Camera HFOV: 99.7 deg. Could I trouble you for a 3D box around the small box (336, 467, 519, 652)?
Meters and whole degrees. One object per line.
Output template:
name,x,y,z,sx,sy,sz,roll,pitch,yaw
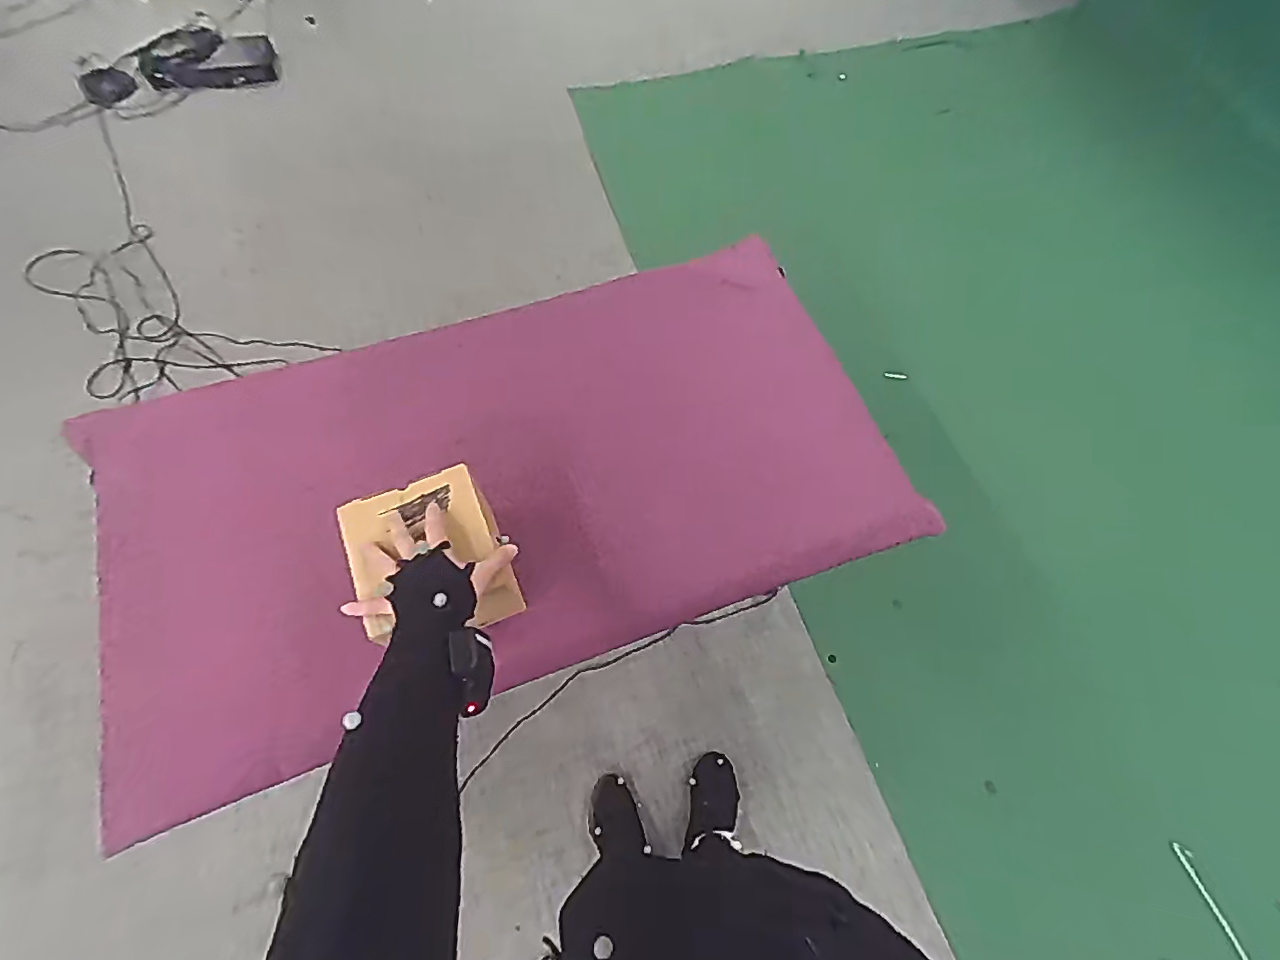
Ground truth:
small box,-0.276,0.114,0.731,0.168,0.176,0.179,-21,70,-12
